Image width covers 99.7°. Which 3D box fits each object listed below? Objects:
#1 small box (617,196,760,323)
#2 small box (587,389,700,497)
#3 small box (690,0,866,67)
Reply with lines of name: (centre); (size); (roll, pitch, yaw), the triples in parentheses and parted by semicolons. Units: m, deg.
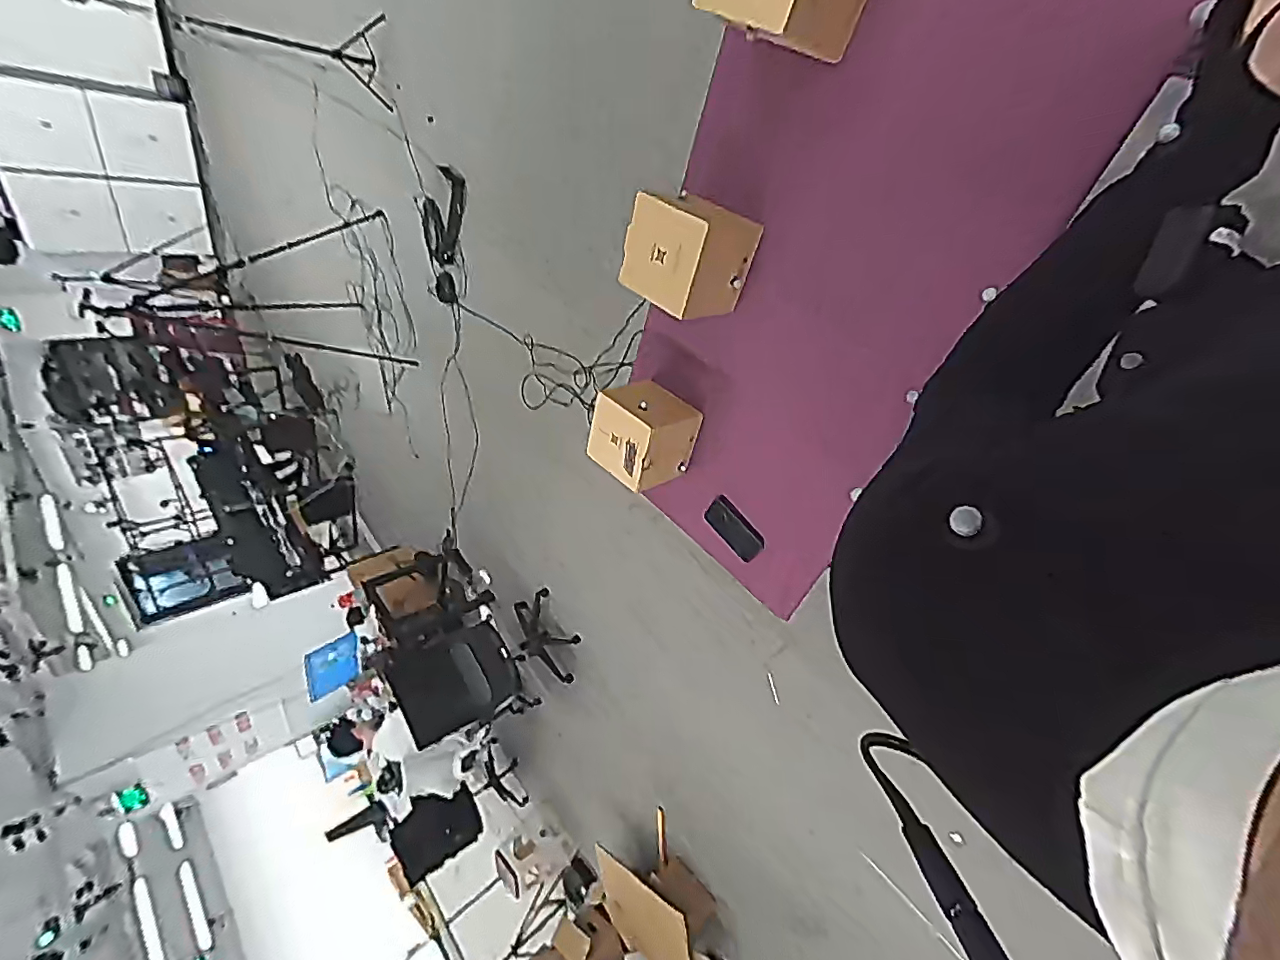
small box: (0.089, -0.410, 1.010); (0.179, 0.176, 0.168); (40, 132, 29)
small box: (0.008, -0.093, 1.220); (0.179, 0.176, 0.168); (39, 130, 32)
small box: (0.208, -0.714, 0.760); (0.179, 0.176, 0.168); (44, 134, 27)
